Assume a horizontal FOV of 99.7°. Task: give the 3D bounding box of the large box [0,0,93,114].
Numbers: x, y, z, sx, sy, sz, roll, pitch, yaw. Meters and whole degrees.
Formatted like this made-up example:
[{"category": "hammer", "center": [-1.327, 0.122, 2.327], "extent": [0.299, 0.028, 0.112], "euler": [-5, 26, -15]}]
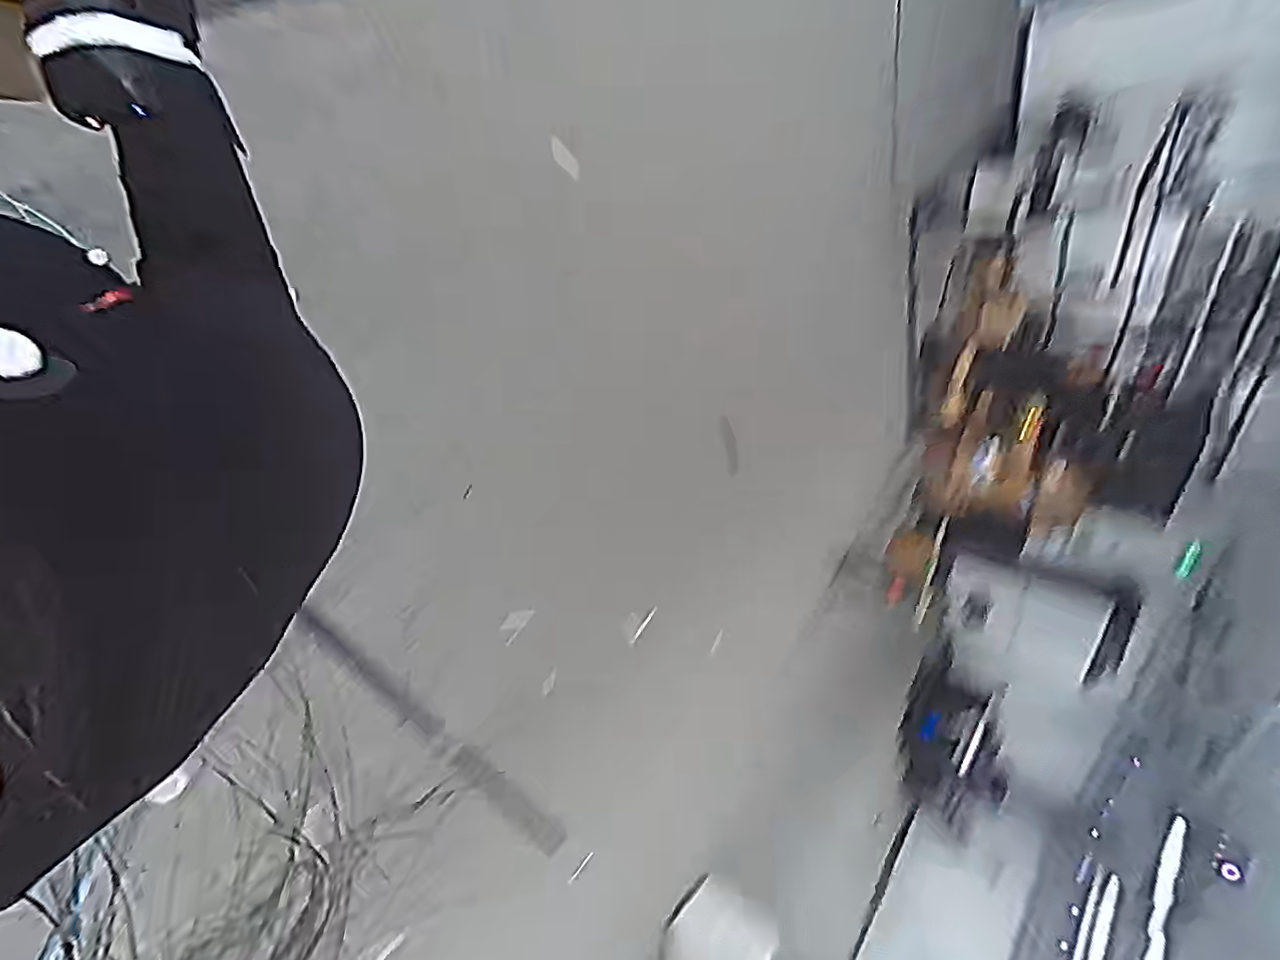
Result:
[{"category": "large box", "center": [-0.597, -0.394, 0.239], "extent": [0.408, 0.320, 0.320], "euler": [-27, 124, -45]}]
